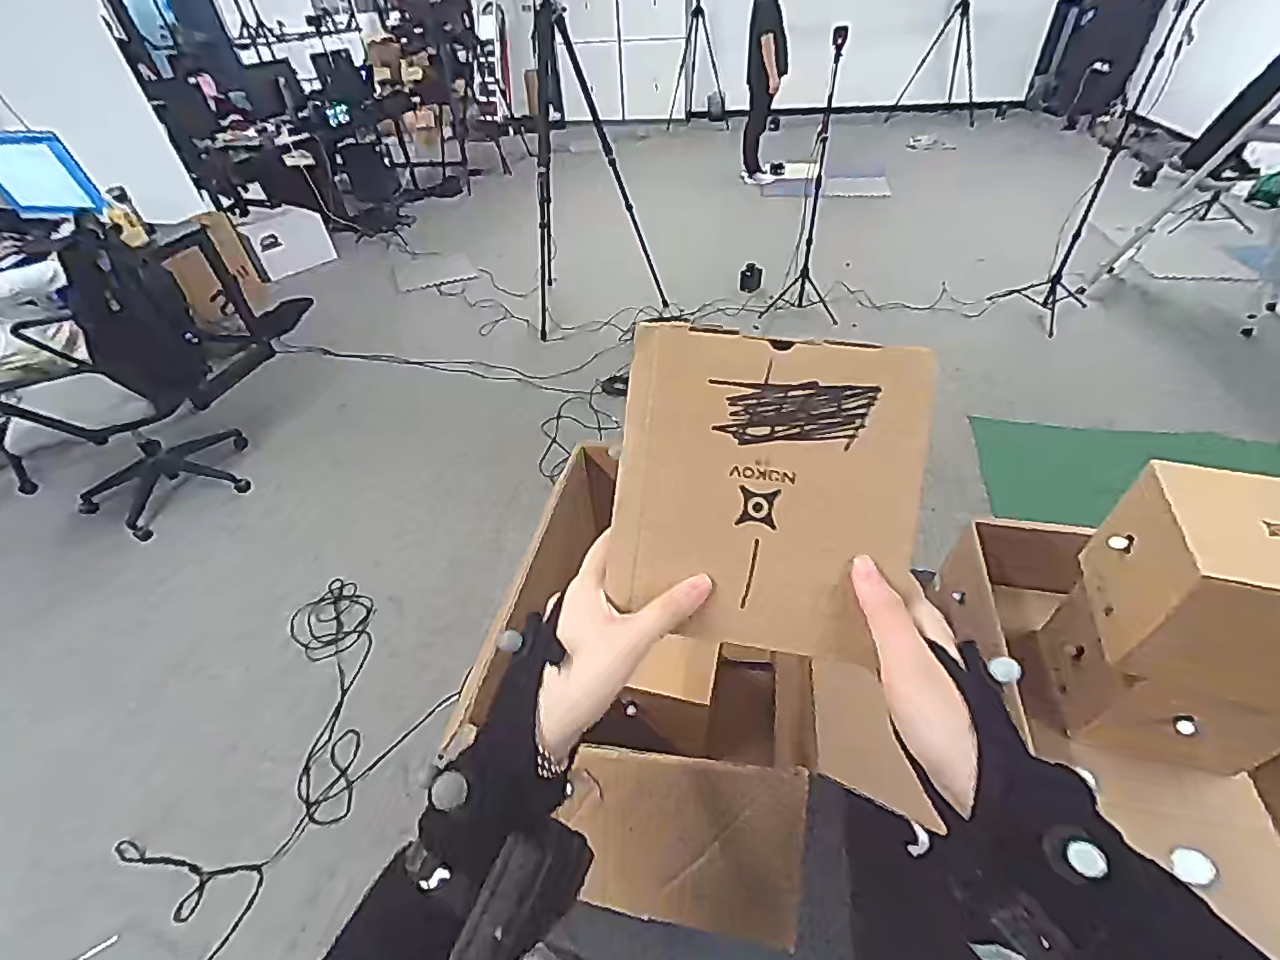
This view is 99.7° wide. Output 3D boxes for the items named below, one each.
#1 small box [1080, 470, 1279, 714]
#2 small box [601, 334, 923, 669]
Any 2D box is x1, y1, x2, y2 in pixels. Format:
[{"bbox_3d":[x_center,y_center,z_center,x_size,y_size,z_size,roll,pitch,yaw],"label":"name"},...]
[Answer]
[{"bbox_3d":[0.605,0.117,0.568,0.179,0.176,0.168,12,46,16],"label":"small box"},{"bbox_3d":[0.077,0.010,0.392,0.168,0.179,0.176,8,1,7],"label":"small box"}]
